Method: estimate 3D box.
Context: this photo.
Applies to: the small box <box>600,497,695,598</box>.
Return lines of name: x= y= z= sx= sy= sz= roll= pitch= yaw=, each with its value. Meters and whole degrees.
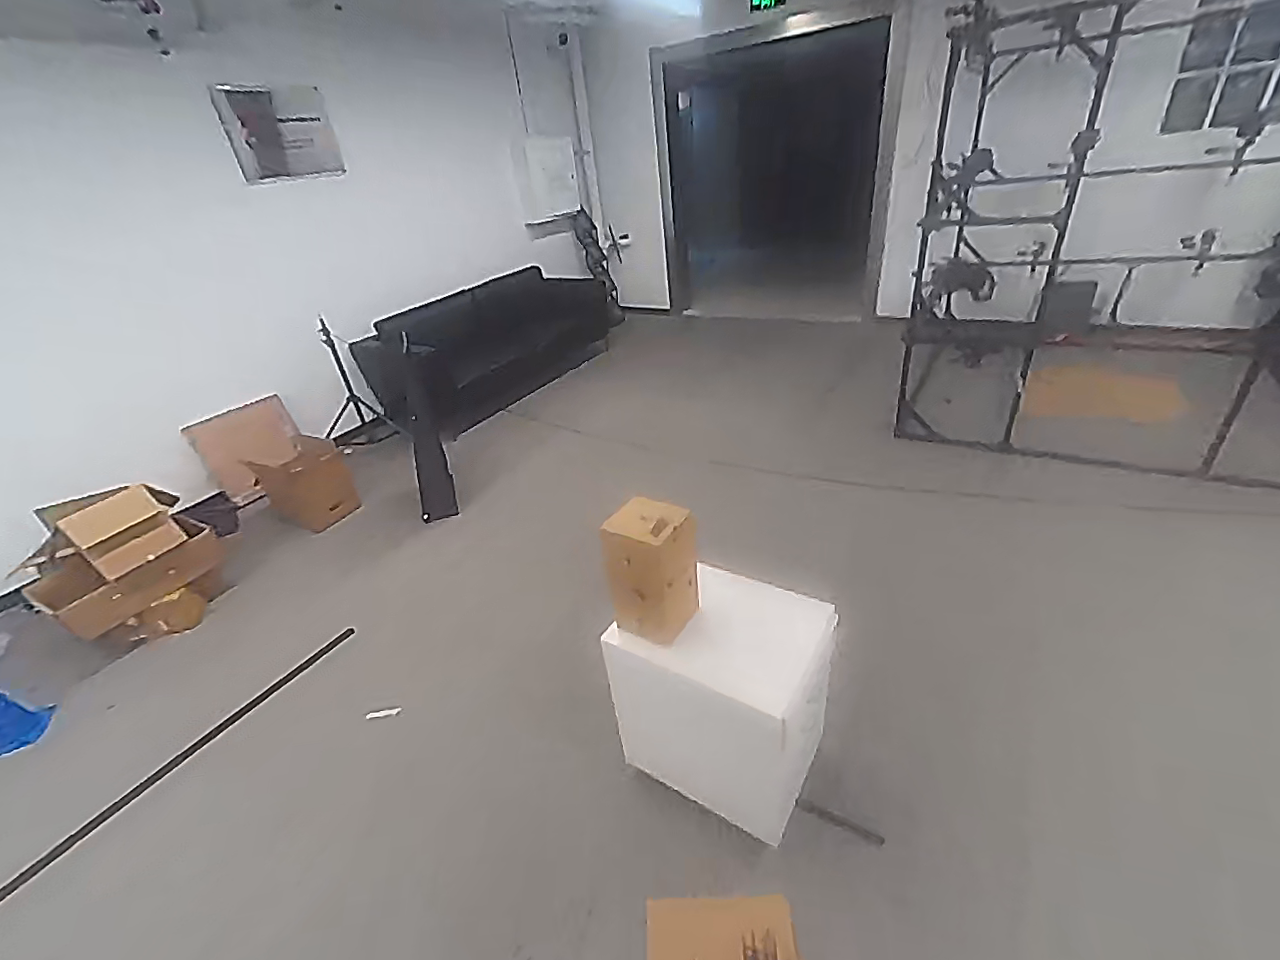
small box: x=0.027 y=0.170 z=1.350 sx=0.179 sy=0.176 sz=0.168 roll=13 pitch=36 yaw=32

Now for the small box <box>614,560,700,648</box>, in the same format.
small box: x=0.051 y=0.307 z=1.437 sx=0.168 sy=0.176 sz=0.179 roll=13 pitch=36 yaw=31
